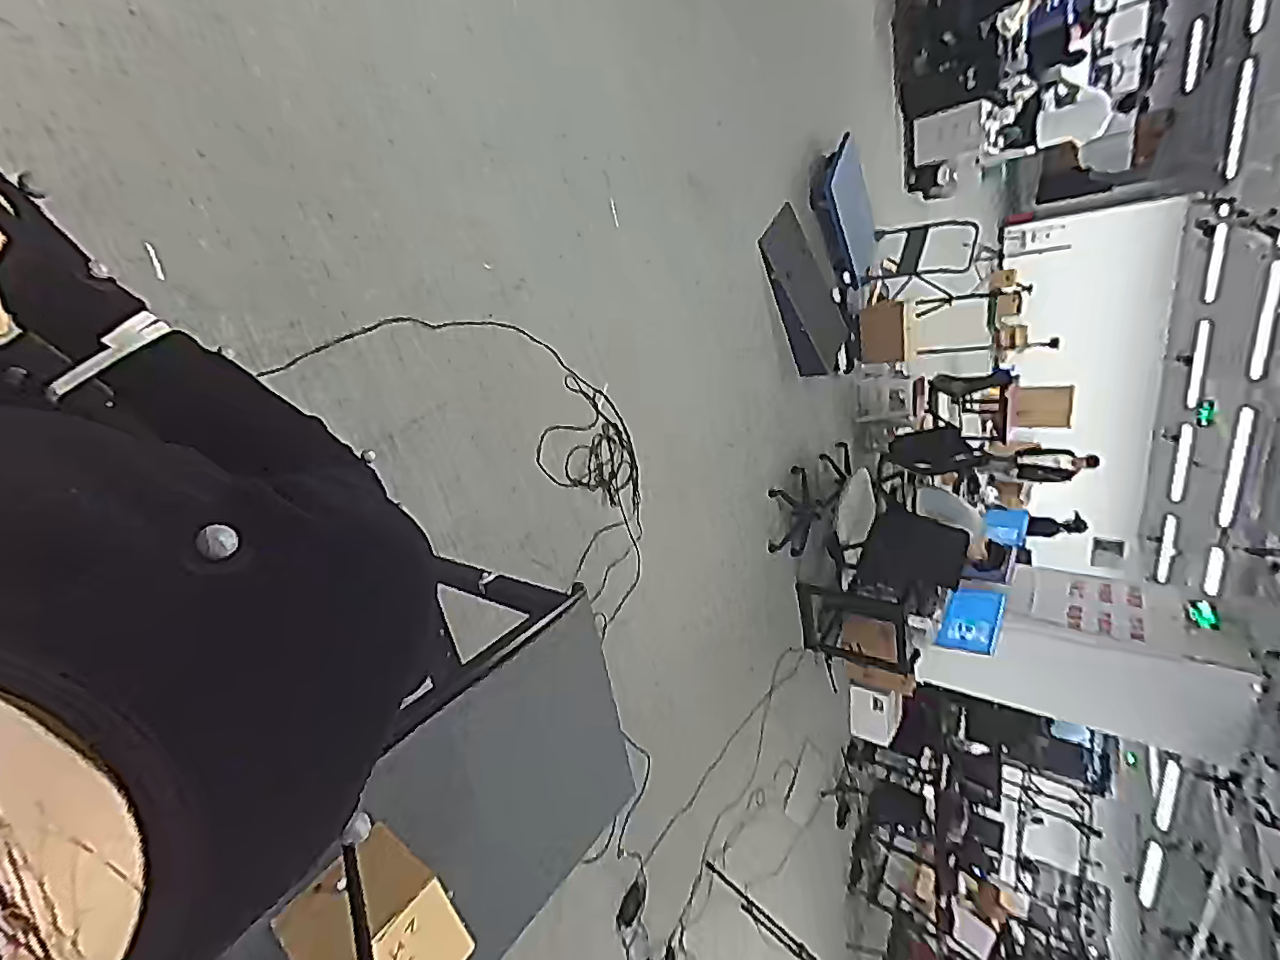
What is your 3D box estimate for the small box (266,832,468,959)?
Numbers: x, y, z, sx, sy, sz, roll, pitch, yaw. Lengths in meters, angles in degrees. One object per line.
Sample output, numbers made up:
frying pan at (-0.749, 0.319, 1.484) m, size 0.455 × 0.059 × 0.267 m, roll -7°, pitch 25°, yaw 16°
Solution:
small box at (-0.382, 0.650, 0.764) m, size 0.168 × 0.176 × 0.179 m, roll -36°, pitch 123°, yaw -44°
